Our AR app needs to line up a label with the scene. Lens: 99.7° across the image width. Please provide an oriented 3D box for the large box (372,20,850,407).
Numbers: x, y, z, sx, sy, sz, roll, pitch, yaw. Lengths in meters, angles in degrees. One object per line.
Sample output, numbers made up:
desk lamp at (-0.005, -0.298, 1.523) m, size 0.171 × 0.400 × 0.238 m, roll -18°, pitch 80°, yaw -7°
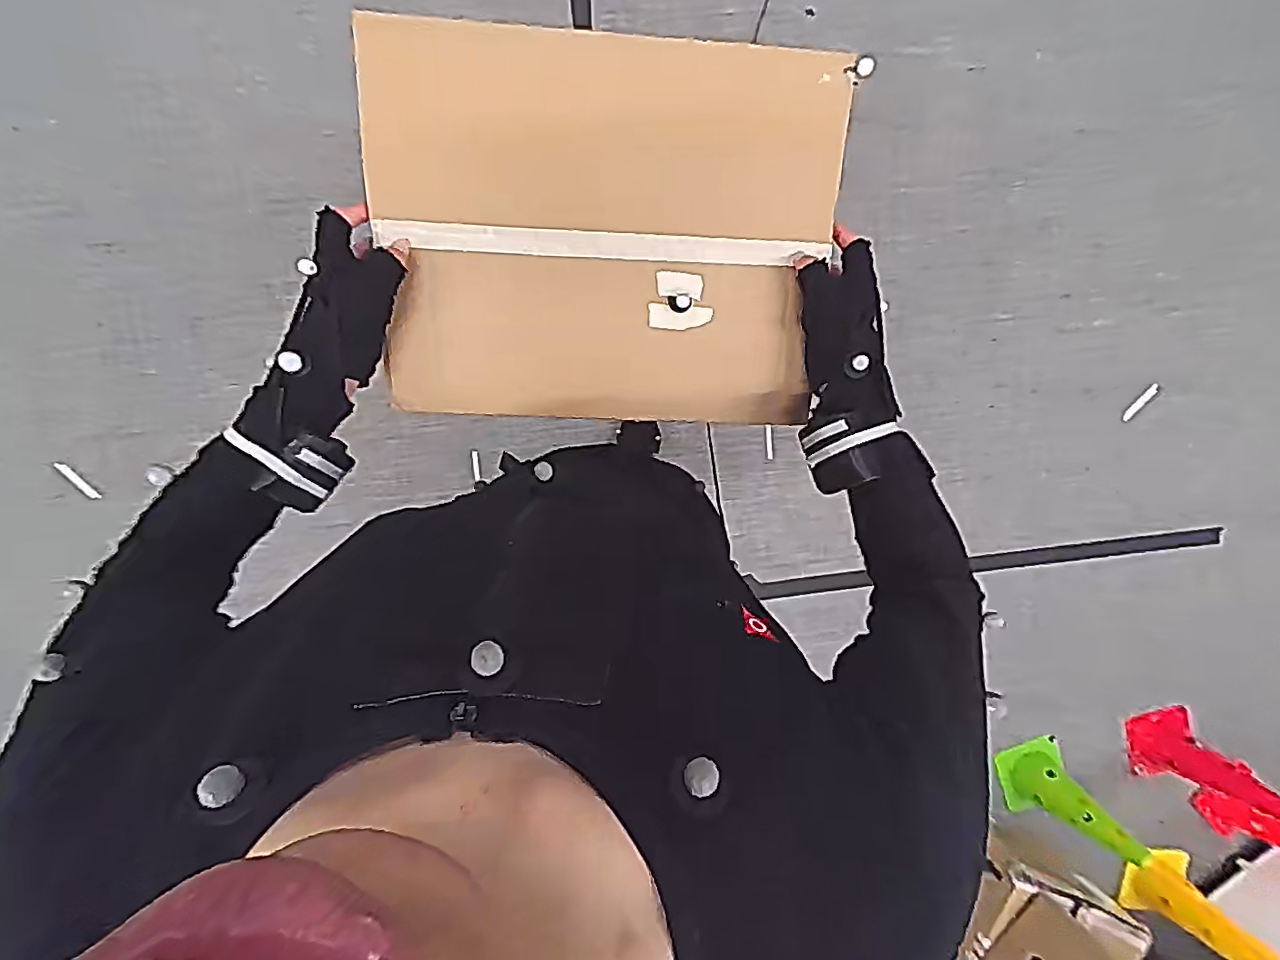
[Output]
large box at (-0.033, -0.264, 0.630) m, size 0.408 × 0.320 × 0.320 m, roll 0°, pitch 108°, yaw -5°
